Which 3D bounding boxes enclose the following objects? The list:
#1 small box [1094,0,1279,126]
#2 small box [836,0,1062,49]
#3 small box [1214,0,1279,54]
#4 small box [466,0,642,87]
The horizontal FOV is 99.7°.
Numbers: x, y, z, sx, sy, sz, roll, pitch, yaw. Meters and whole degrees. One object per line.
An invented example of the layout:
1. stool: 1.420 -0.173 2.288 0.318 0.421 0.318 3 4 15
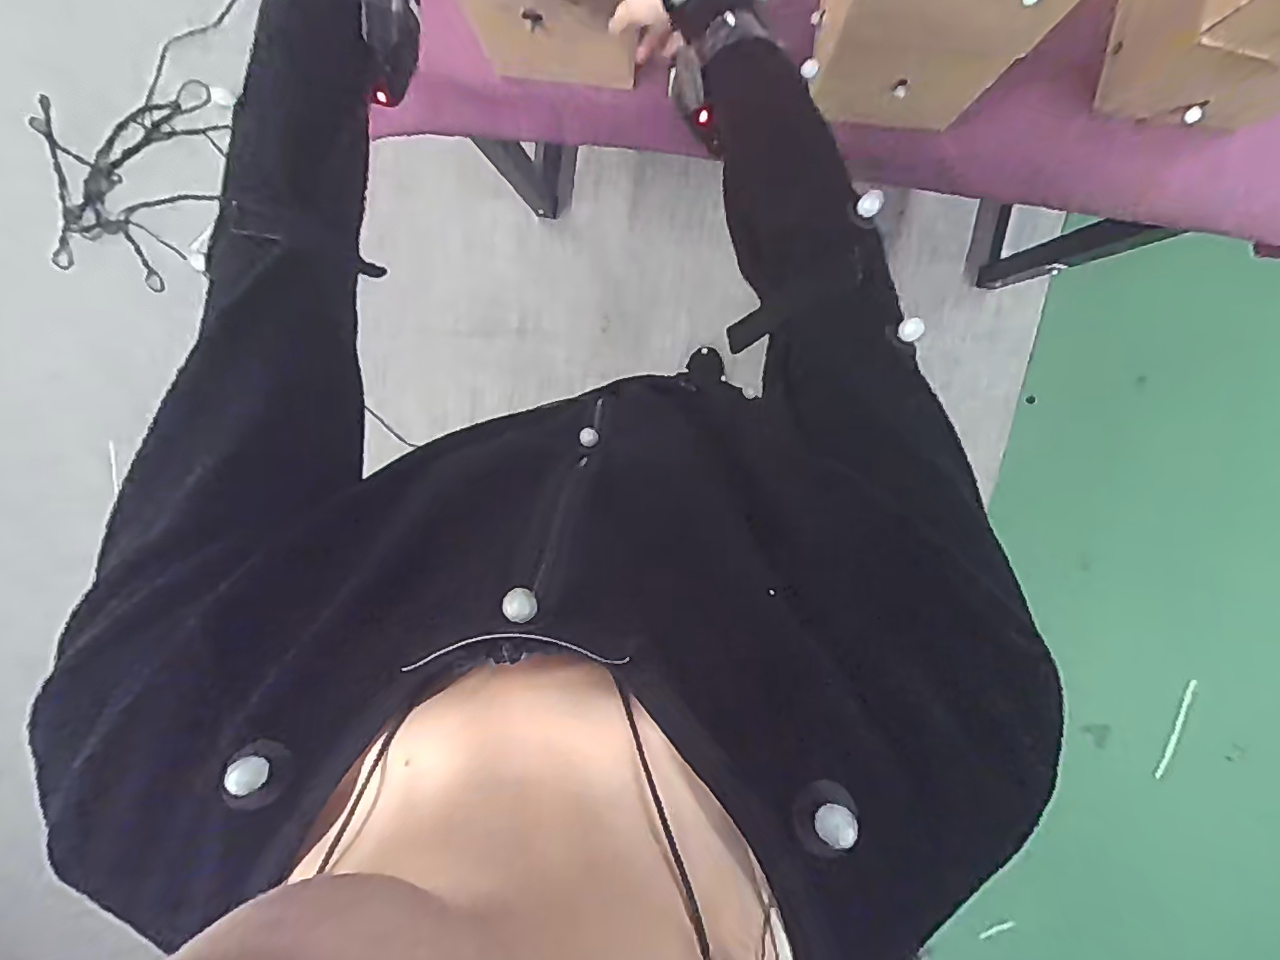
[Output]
1. small box: 0.628 -0.490 0.548 0.179 0.176 0.168 9 98 4
2. small box: 0.272 -0.473 0.412 0.179 0.176 0.168 9 98 4
3. small box: 0.598 -0.448 0.390 0.168 0.176 0.179 17 100 3
4. small box: -0.092 -0.568 0.591 0.179 0.176 0.168 8 99 2
